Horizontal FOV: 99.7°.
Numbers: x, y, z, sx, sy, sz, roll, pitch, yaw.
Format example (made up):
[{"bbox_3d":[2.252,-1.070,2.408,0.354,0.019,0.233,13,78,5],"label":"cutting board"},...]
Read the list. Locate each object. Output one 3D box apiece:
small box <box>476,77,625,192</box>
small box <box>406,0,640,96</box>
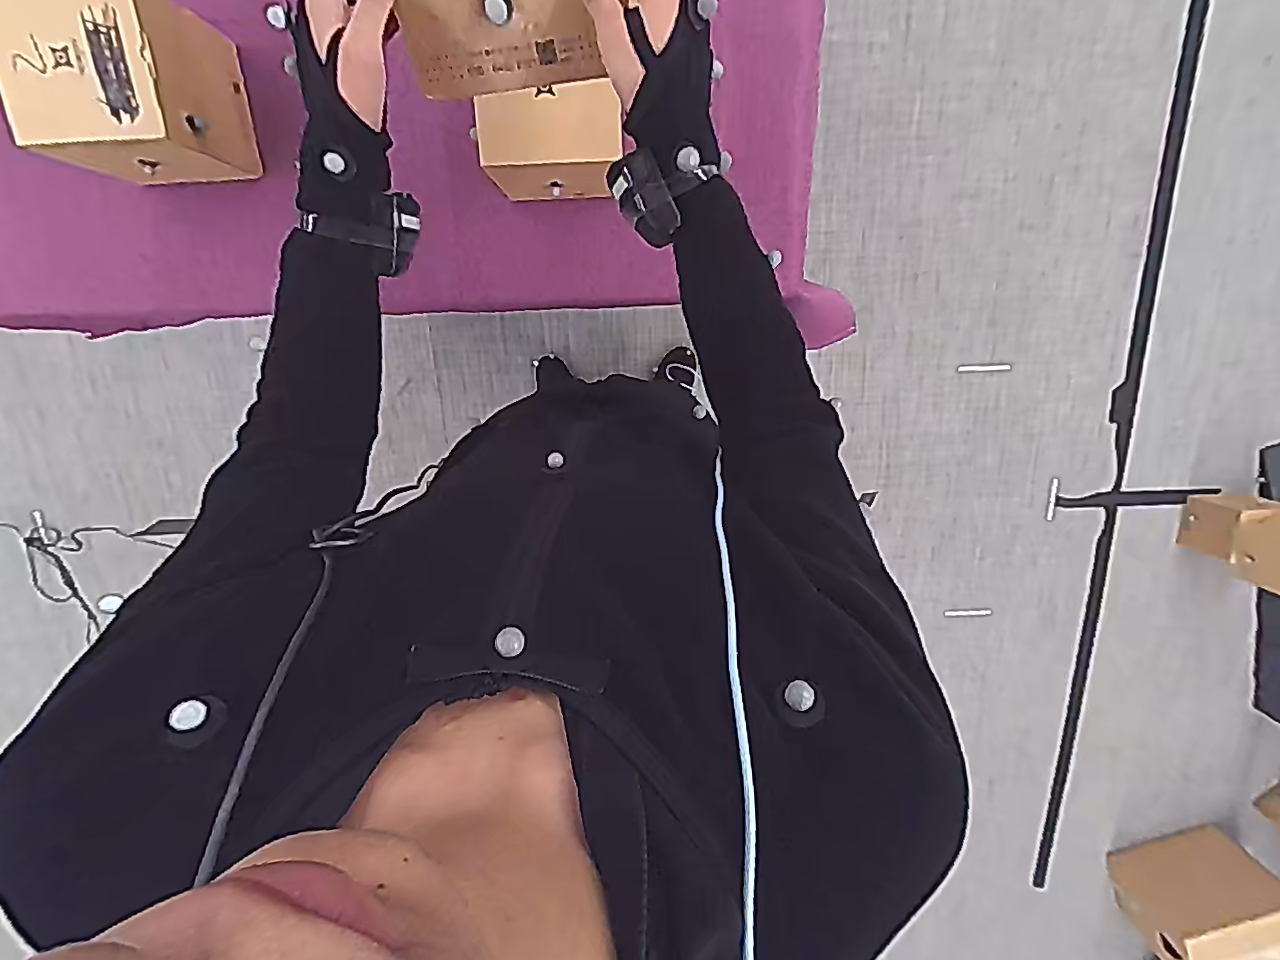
[{"bbox_3d":[-0.104,-0.474,0.683,0.168,0.176,0.179,-2,105,-1],"label":"small box"},{"bbox_3d":[-0.092,-0.425,0.411,0.168,0.179,0.176,-3,145,6],"label":"small box"}]
